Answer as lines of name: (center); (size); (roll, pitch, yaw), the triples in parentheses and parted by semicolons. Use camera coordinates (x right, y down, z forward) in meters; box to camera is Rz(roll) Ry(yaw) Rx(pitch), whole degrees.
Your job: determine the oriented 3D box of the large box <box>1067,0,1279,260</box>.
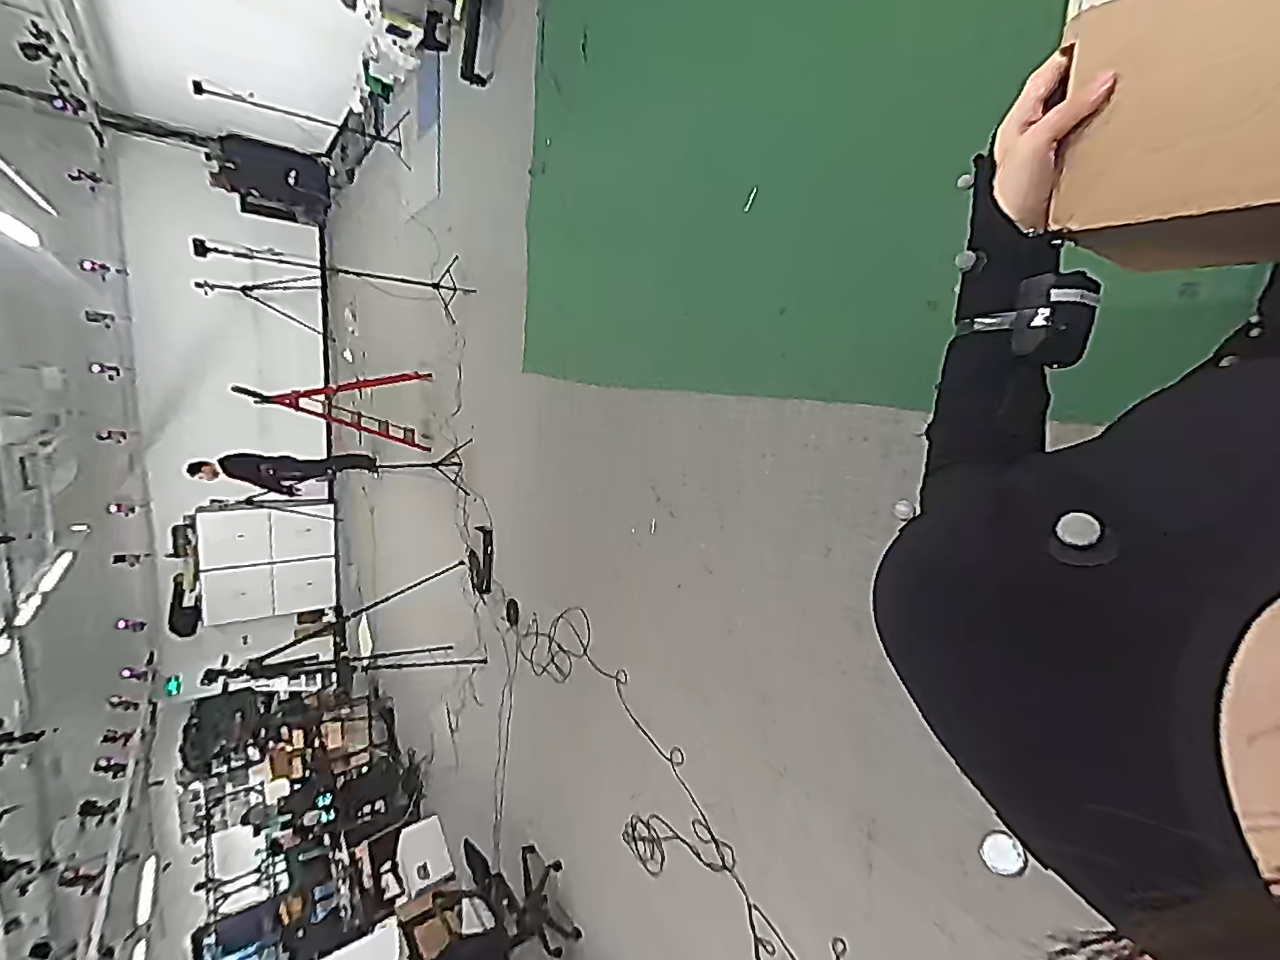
large box: (0.562, -0.340, 0.328); (0.408, 0.320, 0.320); (15, 110, 48)
